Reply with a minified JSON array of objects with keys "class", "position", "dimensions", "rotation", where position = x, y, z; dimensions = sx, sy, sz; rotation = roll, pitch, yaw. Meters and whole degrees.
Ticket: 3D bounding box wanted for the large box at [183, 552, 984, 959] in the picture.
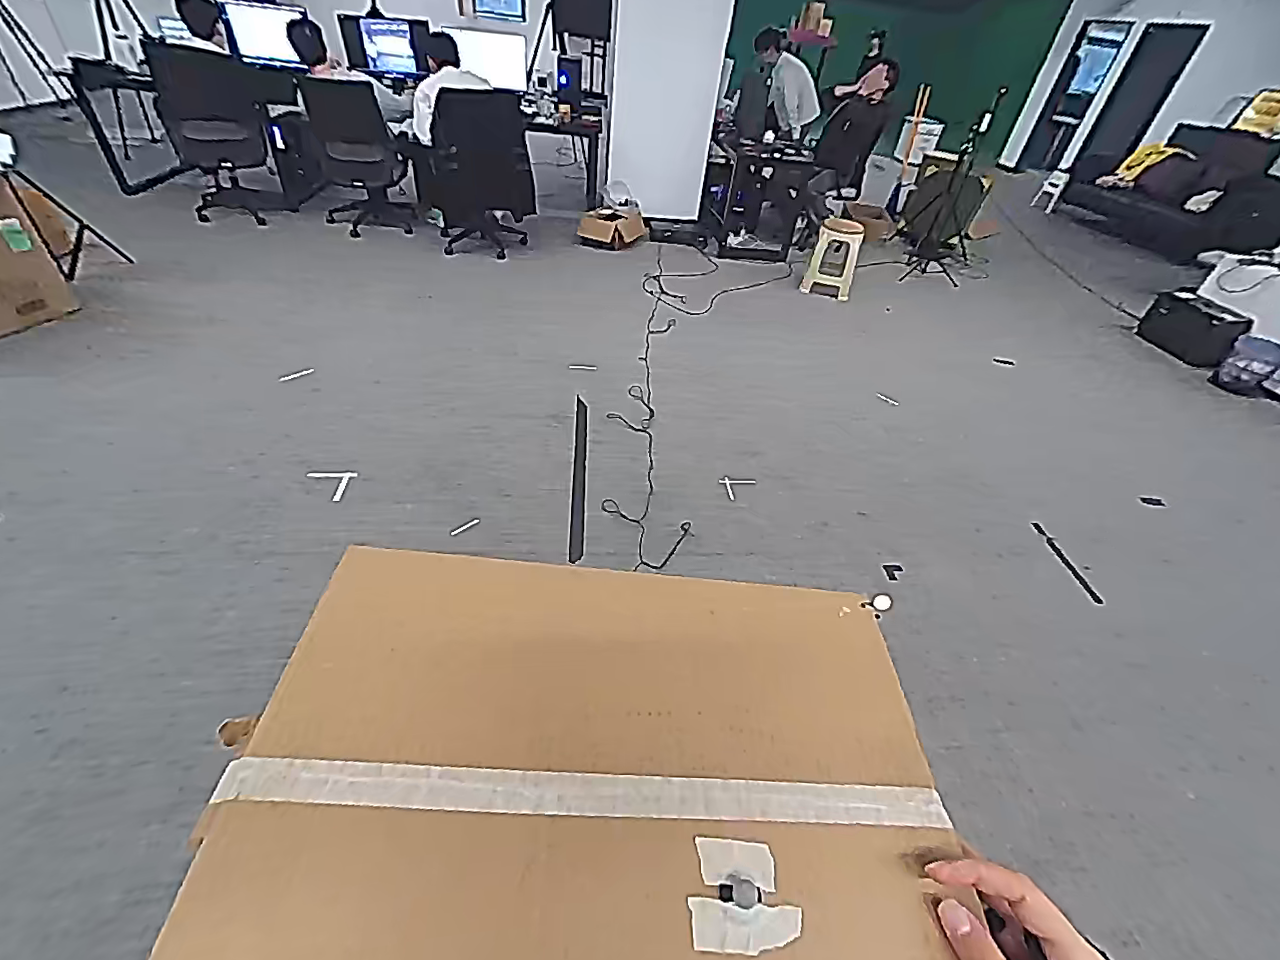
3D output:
[{"class":"large box","position":[-0.037,0.287,0.423],"dimensions":[0.408,0.320,0.320],"rotation":[8,45,-7]}]
